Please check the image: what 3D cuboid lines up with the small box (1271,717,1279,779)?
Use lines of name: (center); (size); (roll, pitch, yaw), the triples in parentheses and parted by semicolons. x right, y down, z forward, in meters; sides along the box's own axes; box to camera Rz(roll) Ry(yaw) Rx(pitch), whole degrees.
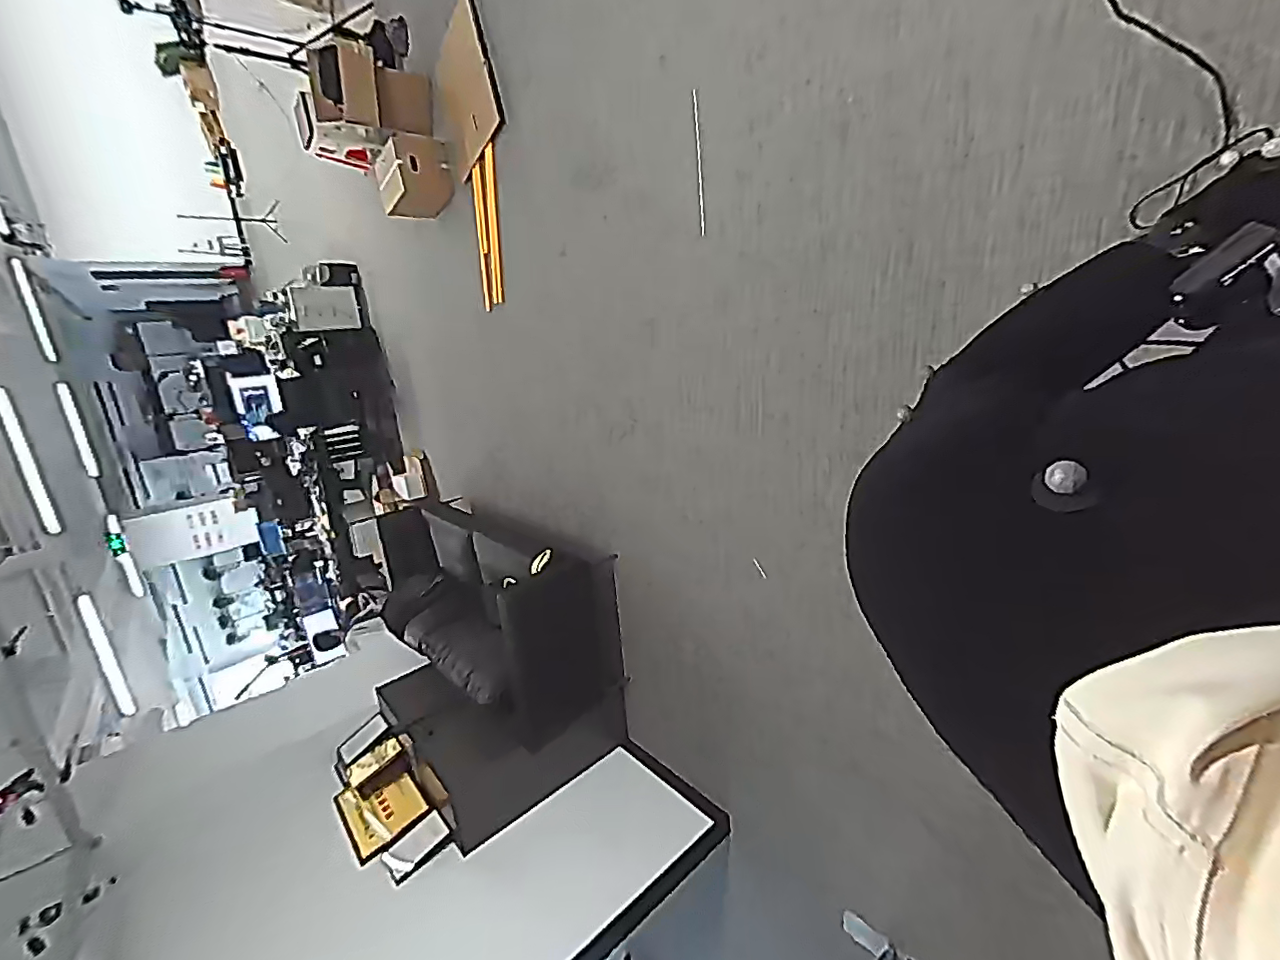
small box: (1.395, 0.517, 1.067); (0.168, 0.176, 0.179); (17, 117, 48)
